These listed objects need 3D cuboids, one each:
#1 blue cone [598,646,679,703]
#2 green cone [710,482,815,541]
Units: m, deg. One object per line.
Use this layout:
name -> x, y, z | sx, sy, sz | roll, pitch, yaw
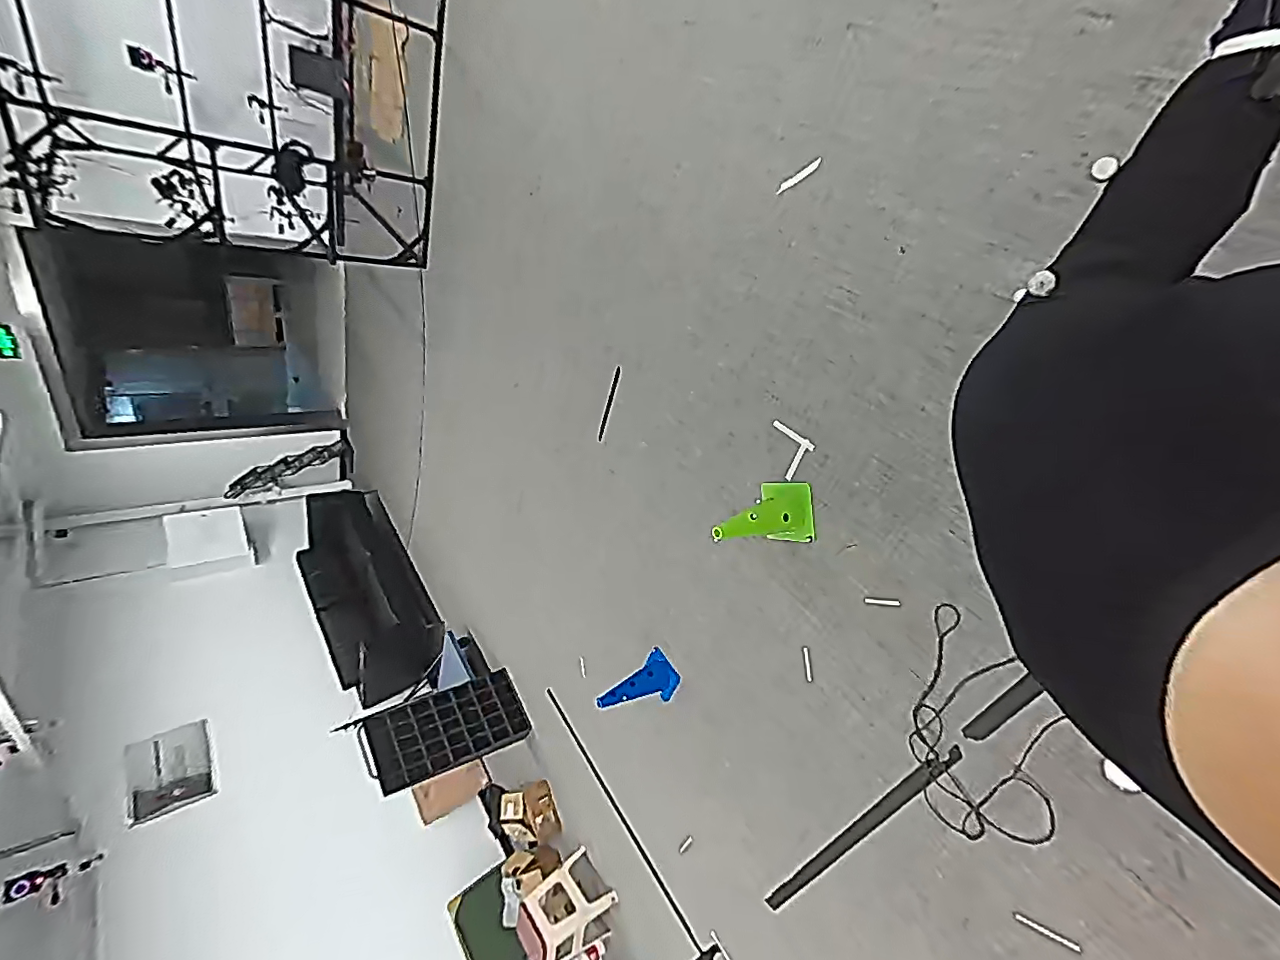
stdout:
blue cone -> -0.021, 0.924, 2.438 | 0.192, 0.380, 0.193 | 50, 133, 34
green cone -> 0.370, 0.127, 1.737 | 0.202, 0.368, 0.200 | -1, 96, 53
